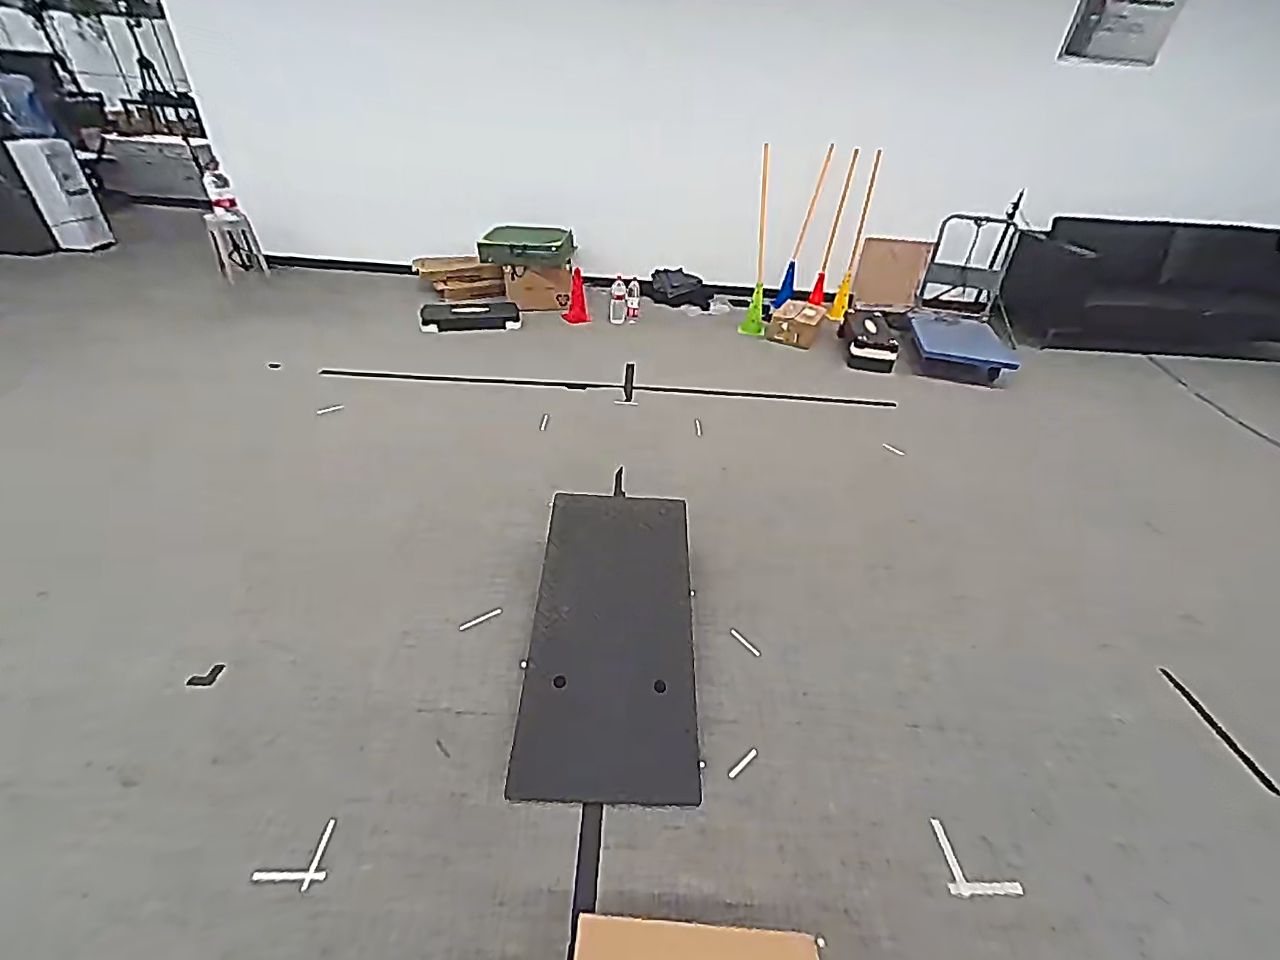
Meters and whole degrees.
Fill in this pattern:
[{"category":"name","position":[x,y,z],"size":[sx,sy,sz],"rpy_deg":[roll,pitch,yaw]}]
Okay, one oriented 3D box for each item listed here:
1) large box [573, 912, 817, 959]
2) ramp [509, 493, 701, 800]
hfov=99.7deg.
[{"category":"large box","position":[0.075,0.958,0.875],"size":[0.408,0.320,0.320],"rpy_deg":[6,36,0]},{"category":"ramp","position":[-0.071,0.428,1.687],"size":[0.509,0.206,0.991],"rpy_deg":[3,37,-3]}]
